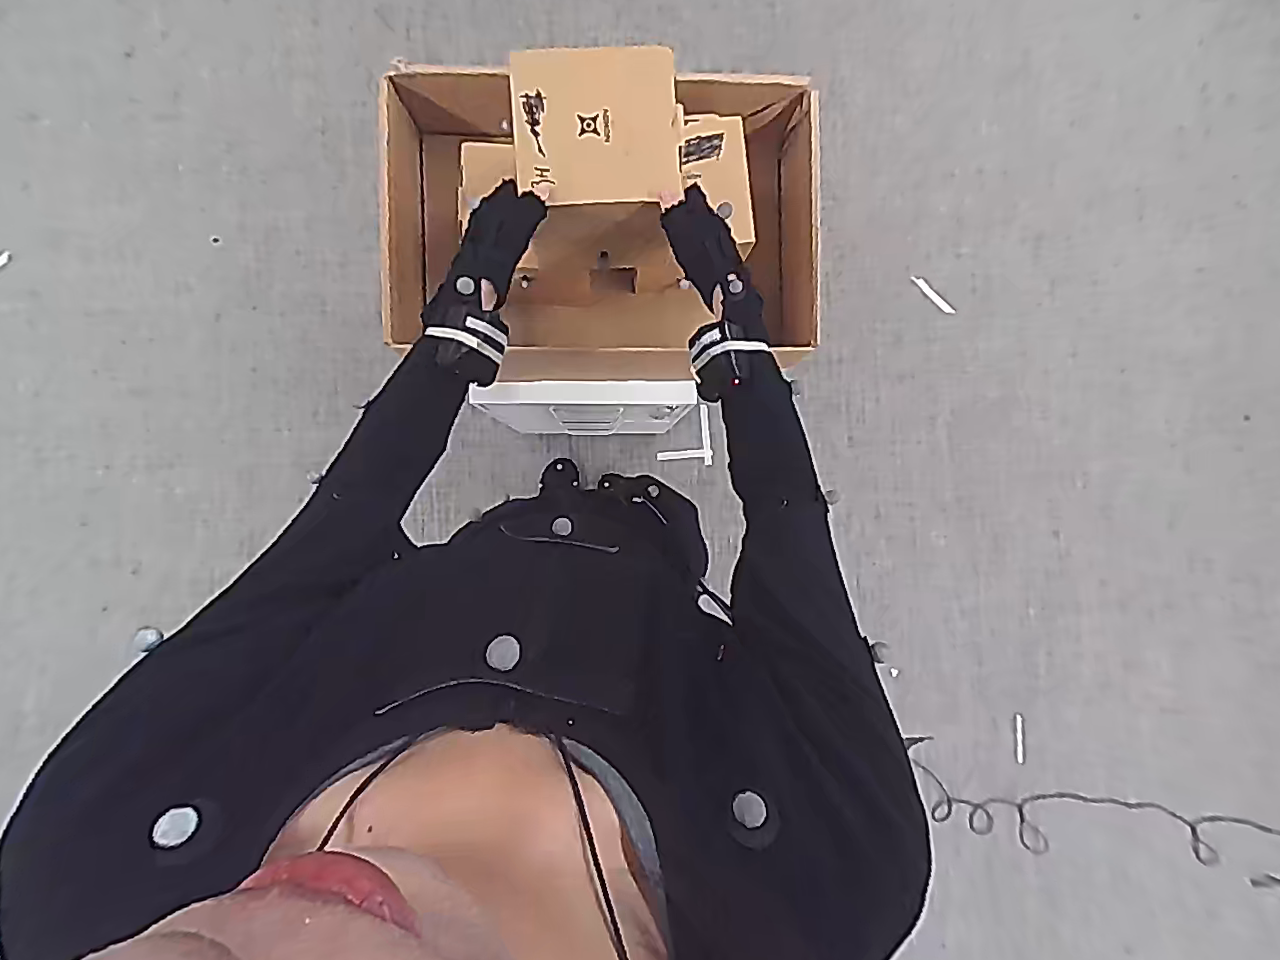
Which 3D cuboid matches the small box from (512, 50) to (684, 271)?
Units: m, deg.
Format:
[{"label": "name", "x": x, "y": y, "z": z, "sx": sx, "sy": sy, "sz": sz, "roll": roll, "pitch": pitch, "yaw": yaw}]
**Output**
[{"label": "small box", "x": -0.051, "y": -0.363, "z": 0.644, "sx": 0.179, "sy": 0.176, "sz": 0.168, "roll": -3, "pitch": 88, "yaw": -5}]
